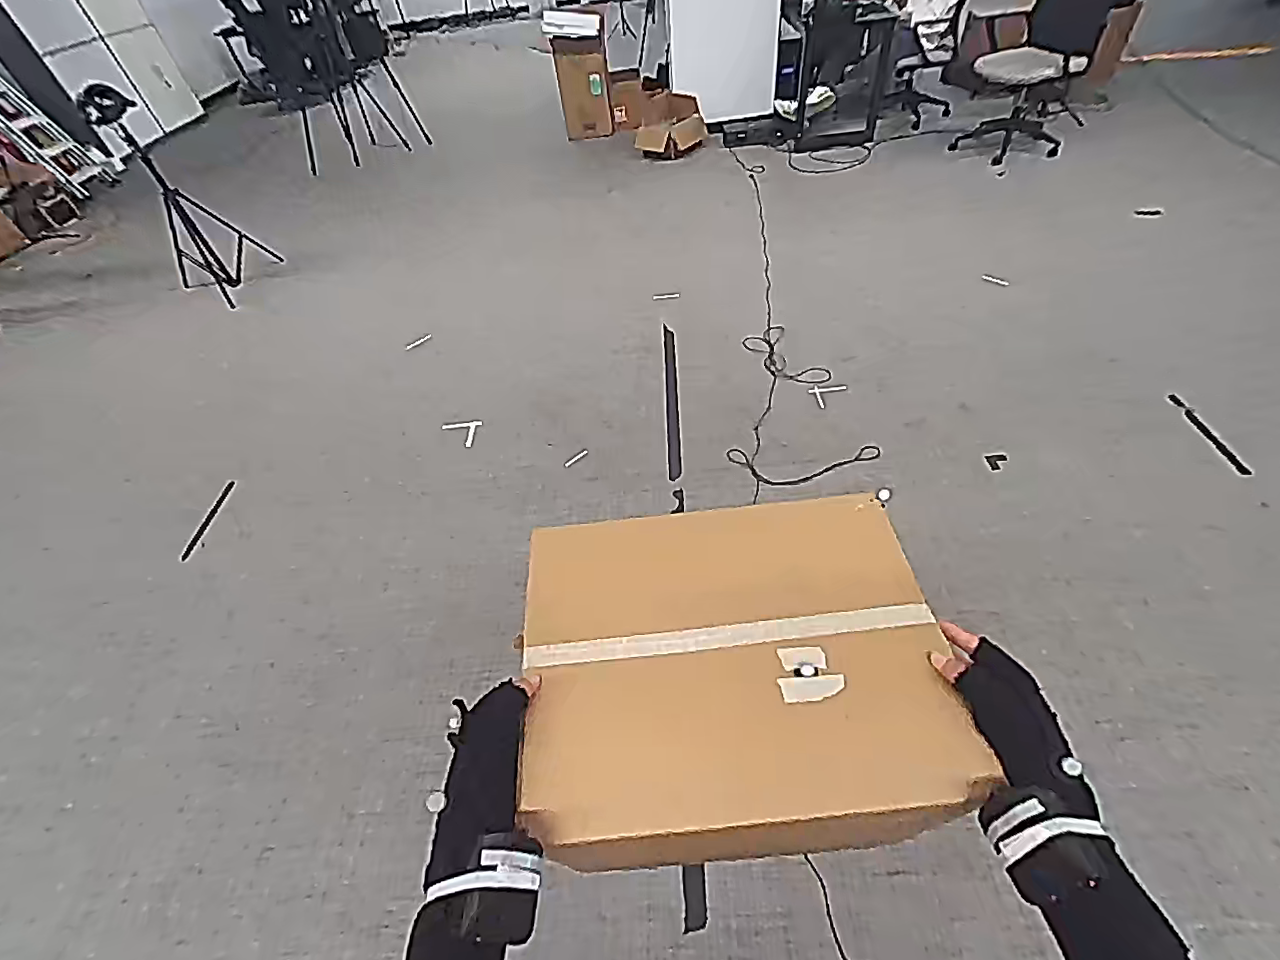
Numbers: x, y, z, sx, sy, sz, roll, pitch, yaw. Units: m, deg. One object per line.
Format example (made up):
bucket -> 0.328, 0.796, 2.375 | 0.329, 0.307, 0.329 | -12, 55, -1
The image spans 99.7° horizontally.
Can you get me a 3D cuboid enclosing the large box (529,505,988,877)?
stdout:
large box -> 0.097, 0.265, 0.664 | 0.408, 0.320, 0.320 | -6, 51, 0
